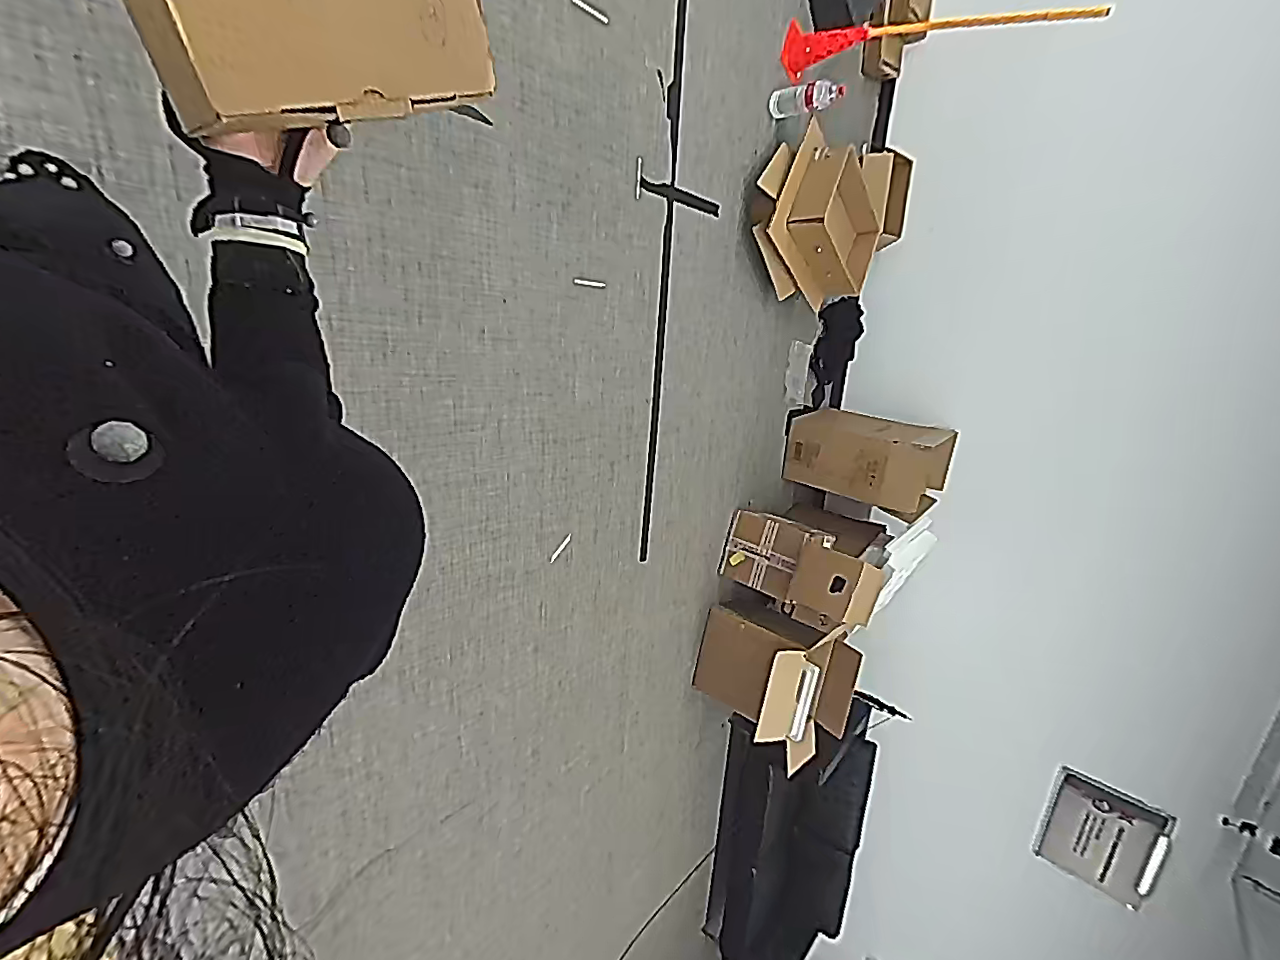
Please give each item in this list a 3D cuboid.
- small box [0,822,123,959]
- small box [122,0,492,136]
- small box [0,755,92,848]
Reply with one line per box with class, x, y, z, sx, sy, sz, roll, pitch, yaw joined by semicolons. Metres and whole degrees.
small box;-0.871;0.624;0.755;0.168;0.176;0.179;-23;121;-43
small box;-0.221;-0.323;0.334;0.168;0.176;0.179;-30;131;-31
small box;-0.995;0.572;0.849;0.179;0.176;0.168;-2;105;-49
